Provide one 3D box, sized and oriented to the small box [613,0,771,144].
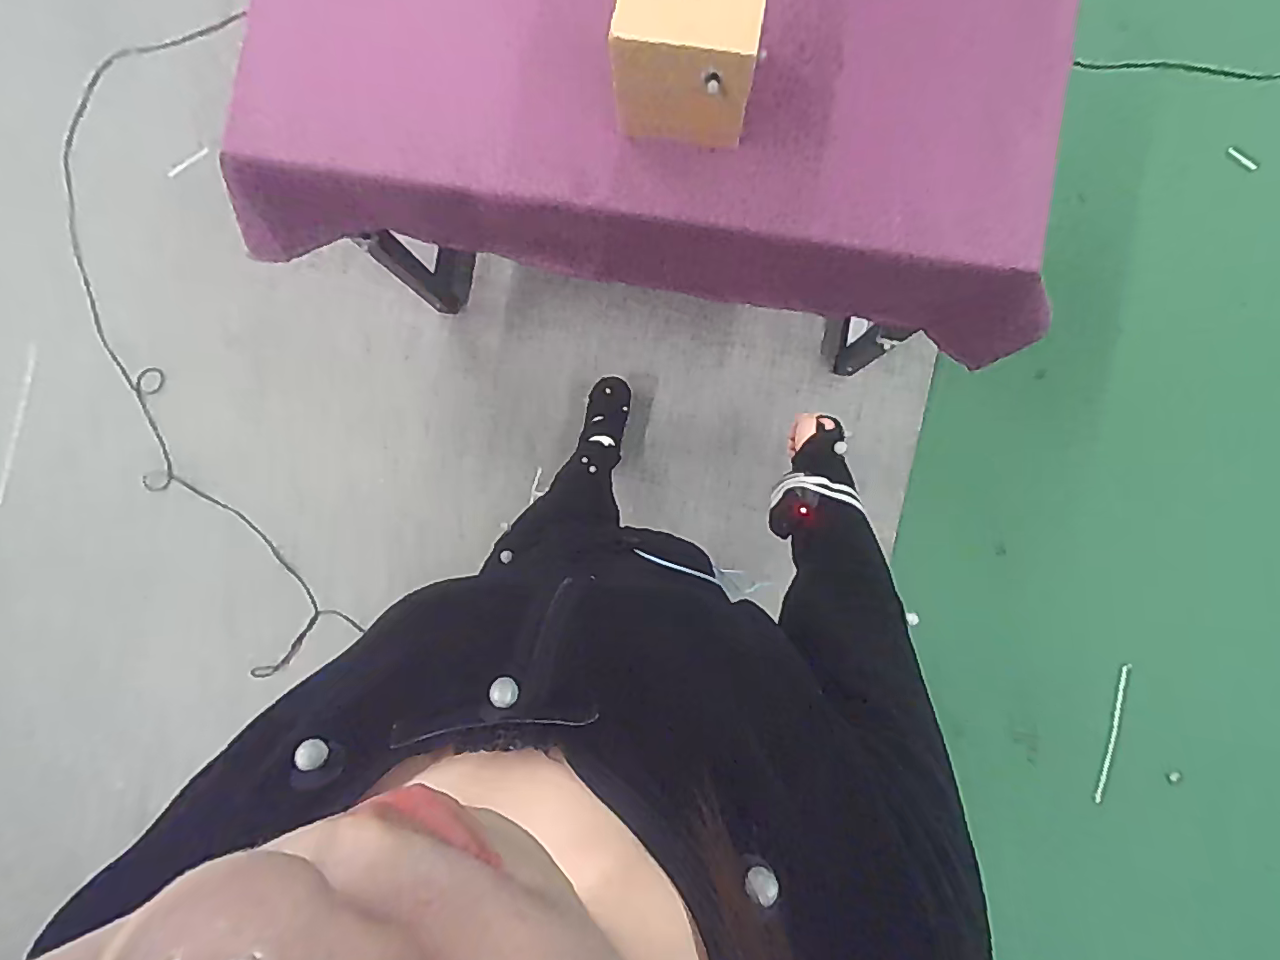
[{"bbox_3d":[0.070,-0.575,0.704,0.179,0.176,0.168,10,88,3],"label":"small box"}]
